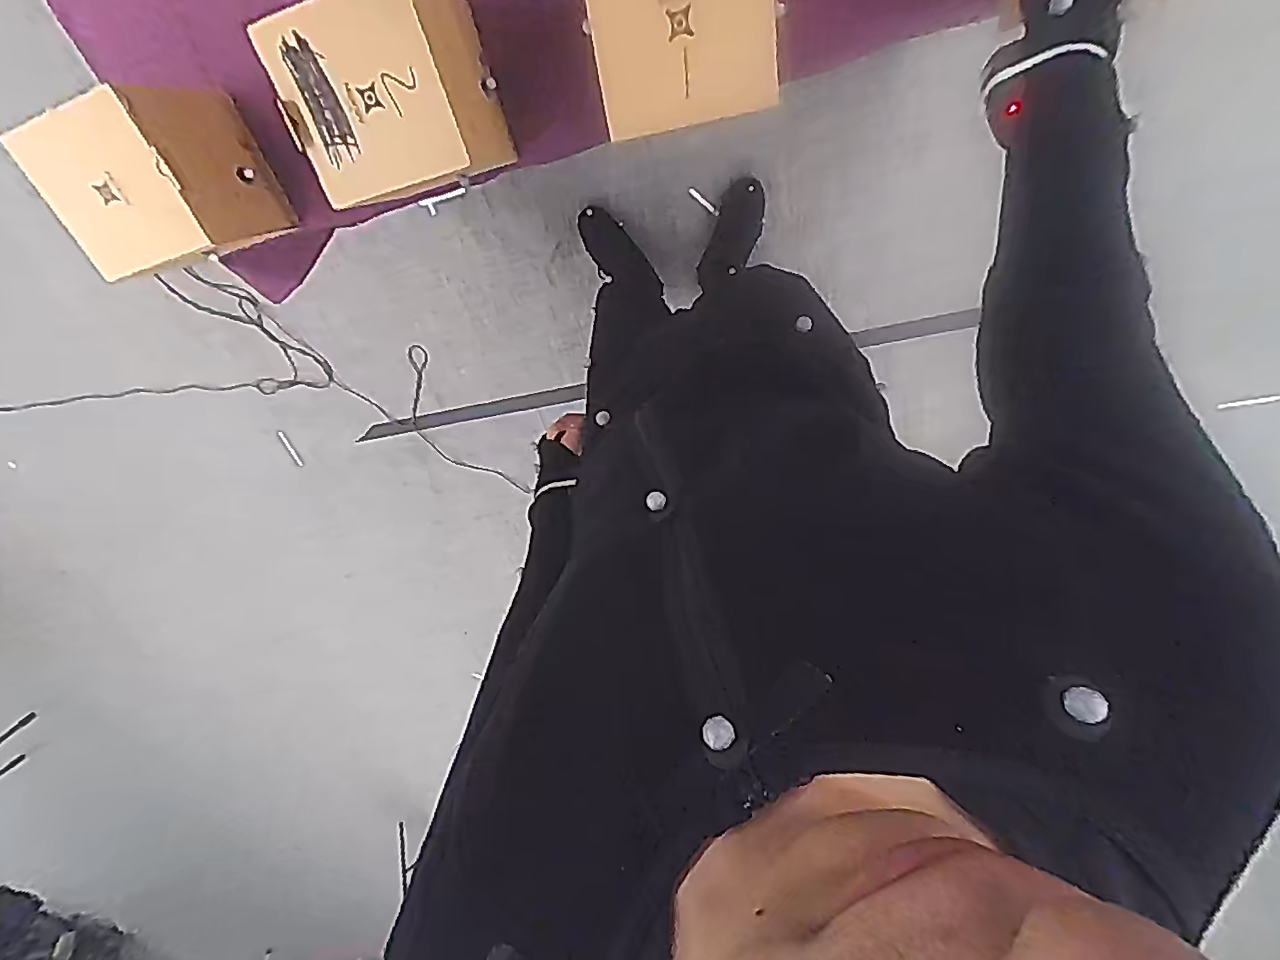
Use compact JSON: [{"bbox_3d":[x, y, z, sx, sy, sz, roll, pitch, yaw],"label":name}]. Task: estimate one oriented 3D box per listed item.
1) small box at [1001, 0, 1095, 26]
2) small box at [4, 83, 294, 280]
[{"bbox_3d":[0.426,-0.523,0.448,0.168,0.176,0.179,-9,121,15],"label":"small box"},{"bbox_3d":[-0.599,-0.374,0.688,0.179,0.176,0.168,-12,120,13],"label":"small box"}]
